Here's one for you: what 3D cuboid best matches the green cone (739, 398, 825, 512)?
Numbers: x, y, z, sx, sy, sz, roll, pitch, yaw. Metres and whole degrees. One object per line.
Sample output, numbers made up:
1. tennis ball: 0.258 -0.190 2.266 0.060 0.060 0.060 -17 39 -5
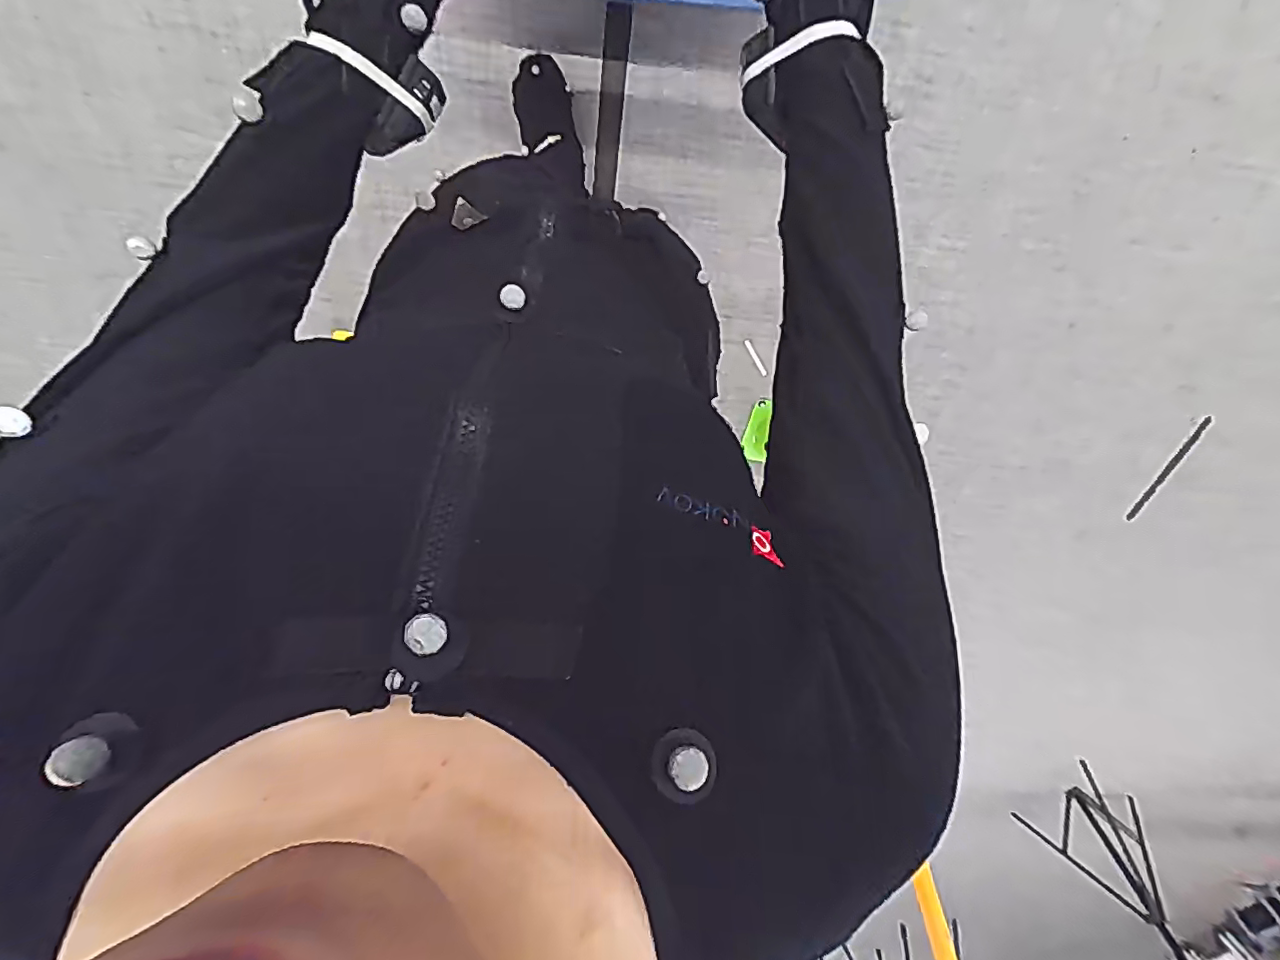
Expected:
1. green cone: 0.414 -0.040 1.448 0.202 0.368 0.200 8 125 -8
